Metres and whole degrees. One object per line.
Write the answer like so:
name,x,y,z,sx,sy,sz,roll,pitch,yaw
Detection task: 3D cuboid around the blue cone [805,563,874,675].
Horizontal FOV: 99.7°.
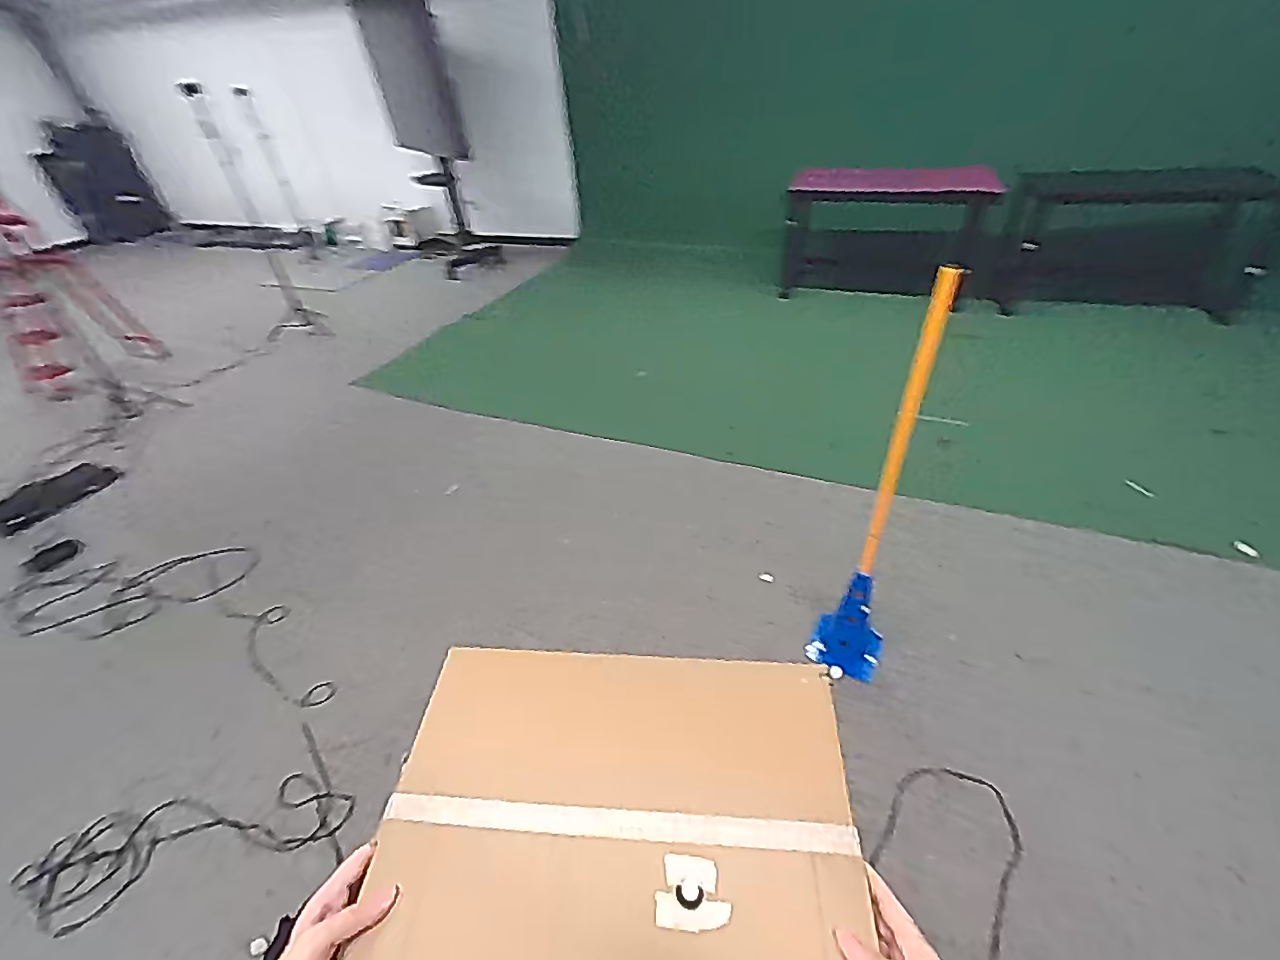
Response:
blue cone,0.633,0.402,1.643,0.193,0.380,0.192,18,43,27

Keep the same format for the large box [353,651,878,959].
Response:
large box,-0.008,0.407,0.575,0.408,0.320,0.320,2,44,6
